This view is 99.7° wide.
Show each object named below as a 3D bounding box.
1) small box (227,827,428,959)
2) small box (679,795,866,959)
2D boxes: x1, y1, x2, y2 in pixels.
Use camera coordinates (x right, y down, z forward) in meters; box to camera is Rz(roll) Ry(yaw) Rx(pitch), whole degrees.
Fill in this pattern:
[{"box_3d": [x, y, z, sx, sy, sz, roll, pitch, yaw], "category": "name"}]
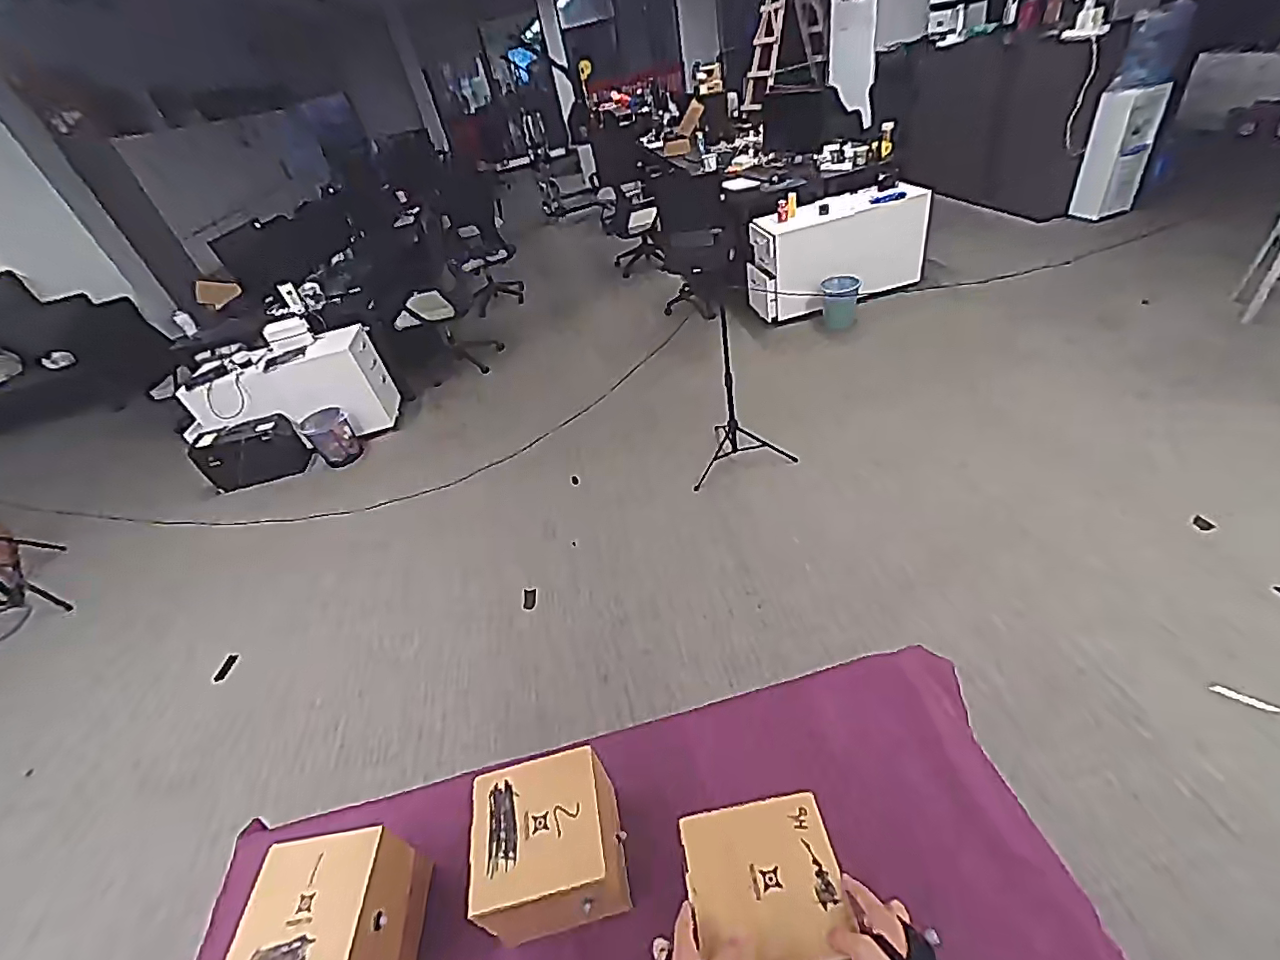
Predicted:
[{"box_3d": [-0.410, 0.607, 0.731, 0.168, 0.176, 0.179, -12, 39, 2], "category": "small box"}, {"box_3d": [0.157, 0.520, 0.656, 0.179, 0.176, 0.168, -13, 36, 3], "category": "small box"}]
